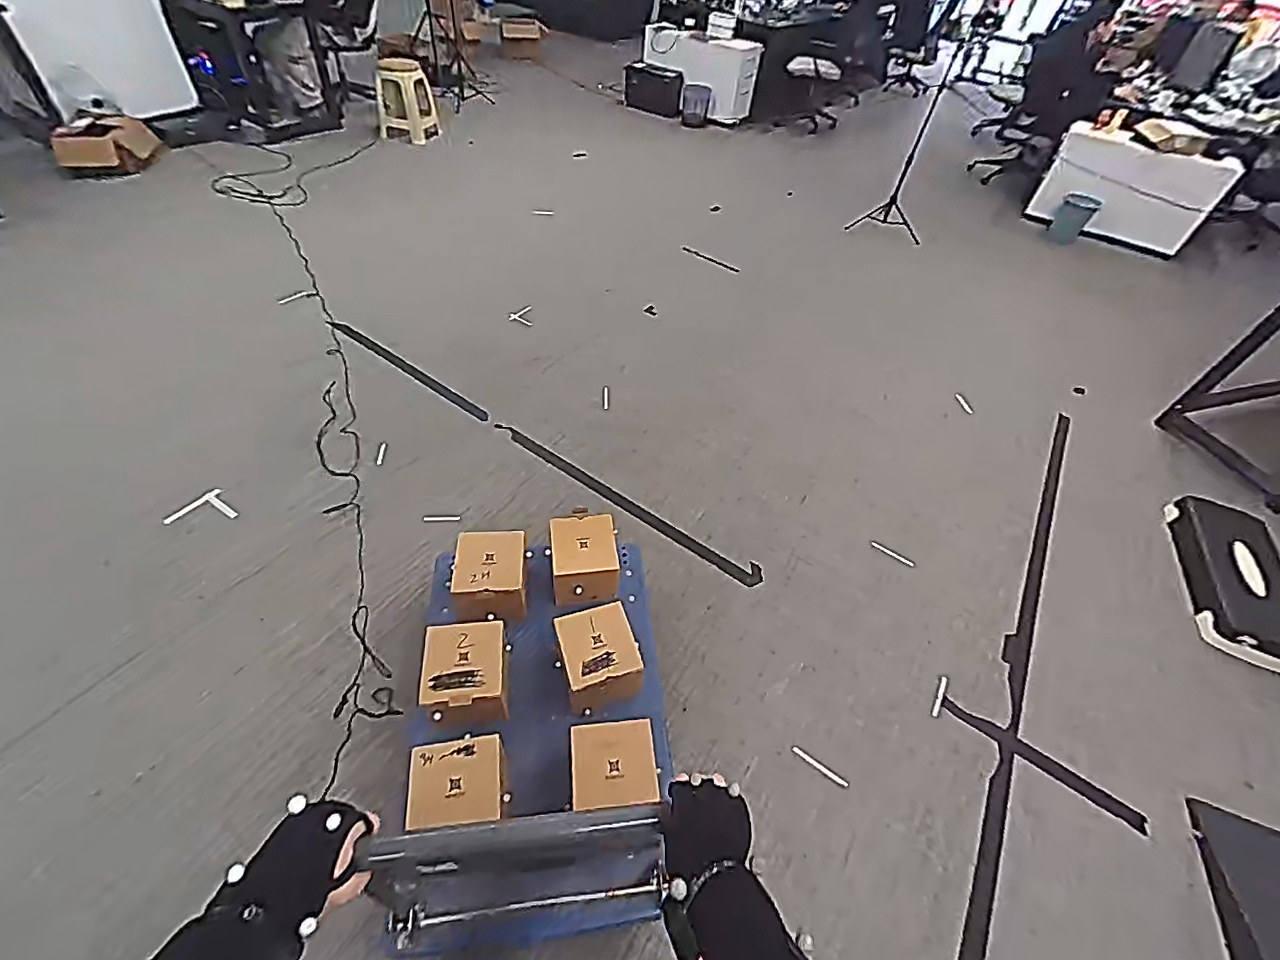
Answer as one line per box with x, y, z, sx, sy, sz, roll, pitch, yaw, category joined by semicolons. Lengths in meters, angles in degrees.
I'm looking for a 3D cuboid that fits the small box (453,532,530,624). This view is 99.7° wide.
-0.375;0.252;1.392;0.168;0.176;0.179;-1;50;-7;small box

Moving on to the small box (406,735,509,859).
-0.349;0.627;1.064;0.168;0.176;0.179;-4;50;-12;small box

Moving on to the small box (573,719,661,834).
-0.054;0.614;1.114;0.168;0.176;0.179;-1;49;-8;small box

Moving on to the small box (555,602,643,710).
-0.100;0.422;1.278;0.168;0.176;0.179;-11;50;-16;small box

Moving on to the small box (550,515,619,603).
-0.150;0.218;1.452;0.168;0.176;0.179;-4;49;-10;small box
